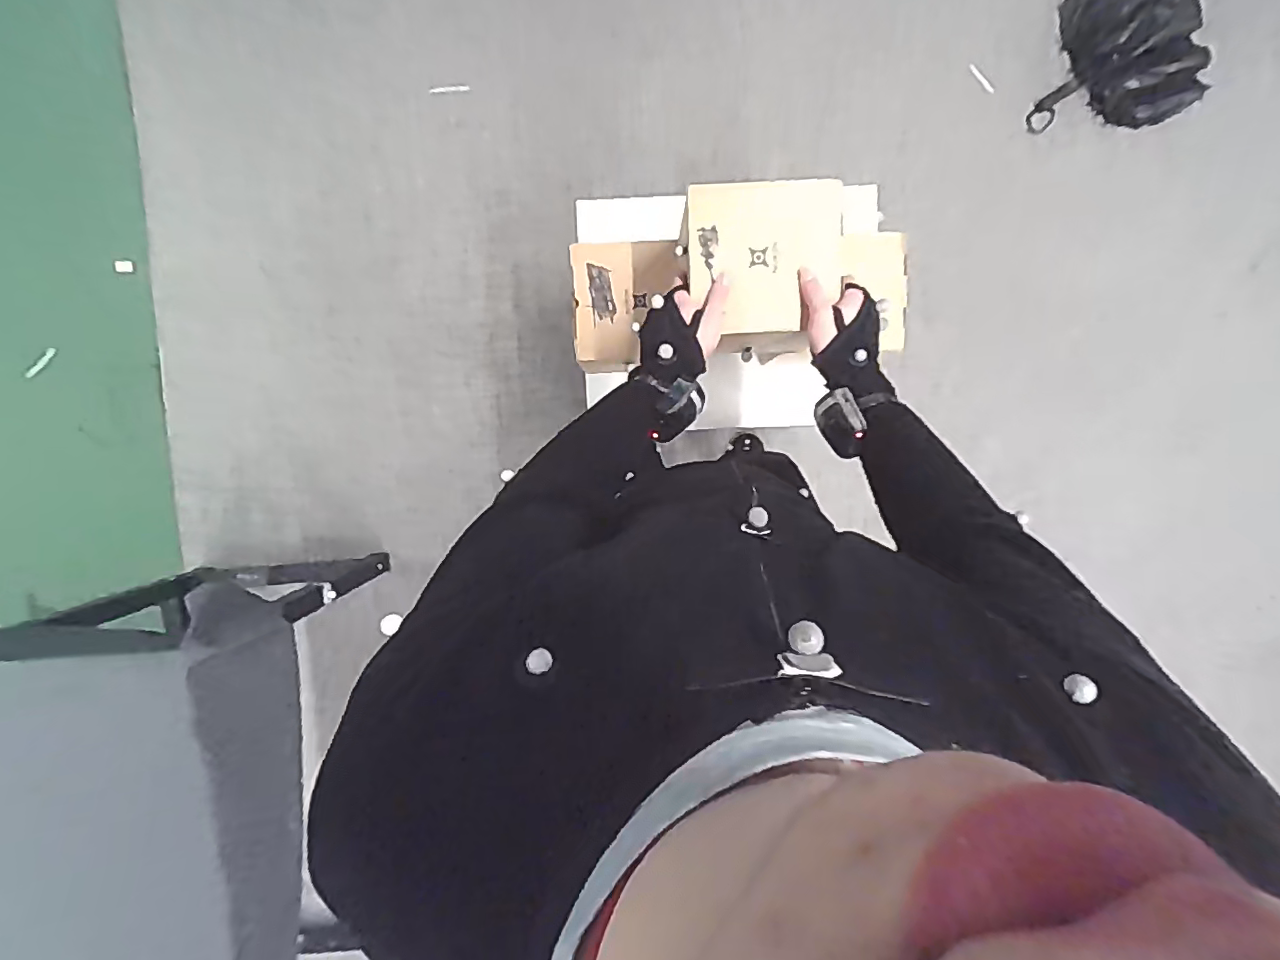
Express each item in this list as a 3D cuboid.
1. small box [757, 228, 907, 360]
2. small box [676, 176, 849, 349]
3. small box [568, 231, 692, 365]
[{"bbox_3d":[0.287,-0.280,0.843,0.179,0.176,0.168,-1,96,1],"label":"small box"},{"bbox_3d":[0.142,-0.260,0.680,0.179,0.176,0.168,-2,97,-2],"label":"small box"},{"bbox_3d":[-0.013,-0.271,0.837,0.179,0.176,0.168,-3,97,-3],"label":"small box"}]
